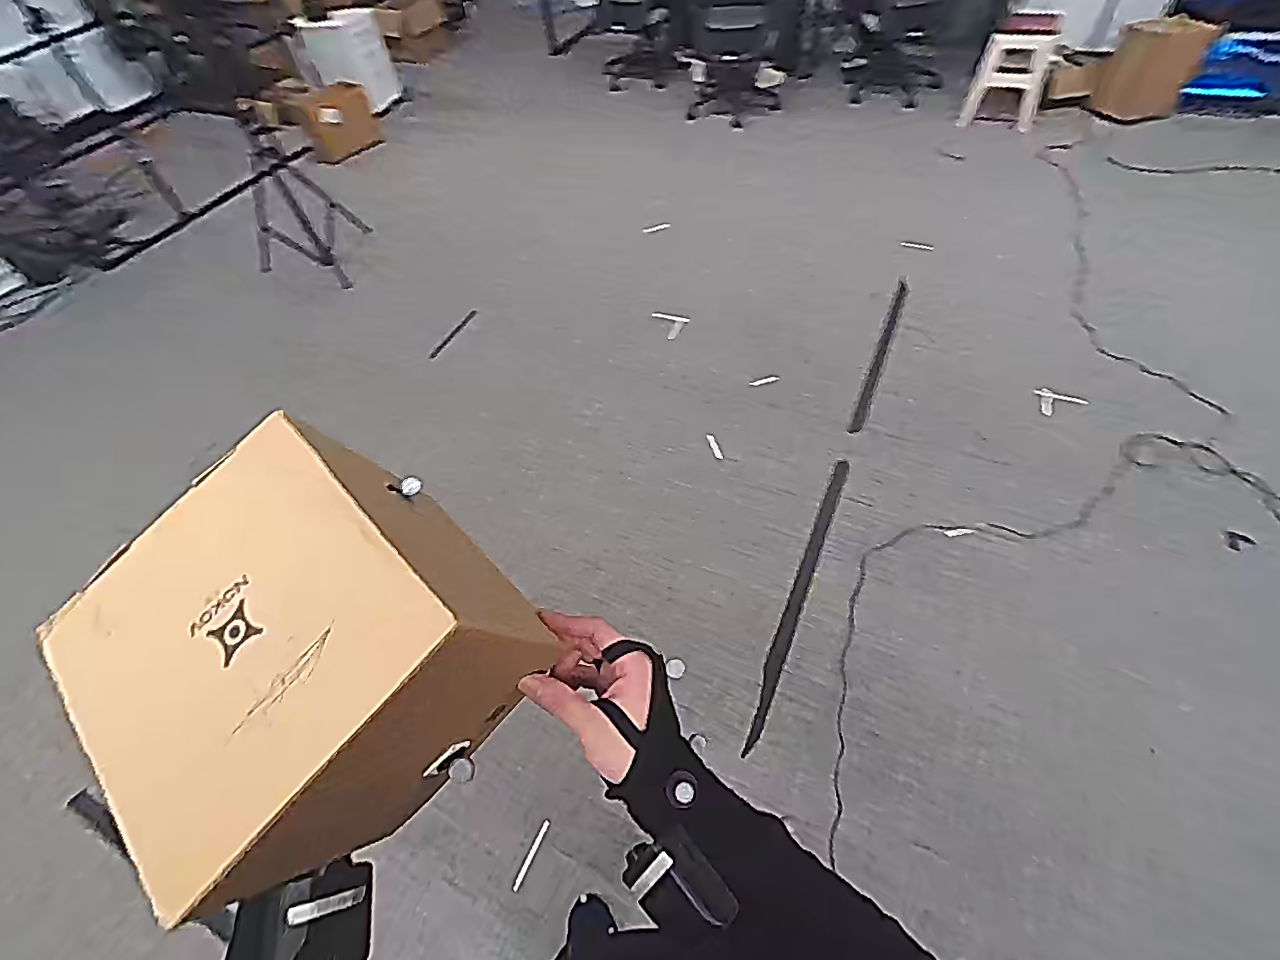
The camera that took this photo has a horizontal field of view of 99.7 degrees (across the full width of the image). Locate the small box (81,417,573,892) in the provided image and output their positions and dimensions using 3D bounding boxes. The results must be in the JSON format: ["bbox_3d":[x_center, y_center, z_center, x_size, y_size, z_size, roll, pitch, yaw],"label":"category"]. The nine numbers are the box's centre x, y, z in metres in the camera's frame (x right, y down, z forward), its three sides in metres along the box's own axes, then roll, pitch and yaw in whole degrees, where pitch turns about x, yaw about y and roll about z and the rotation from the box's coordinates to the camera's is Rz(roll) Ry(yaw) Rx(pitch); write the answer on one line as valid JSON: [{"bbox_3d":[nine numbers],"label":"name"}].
[{"bbox_3d":[-0.173,0.098,0.346,0.179,0.176,0.168,41,82,21],"label":"small box"}]
